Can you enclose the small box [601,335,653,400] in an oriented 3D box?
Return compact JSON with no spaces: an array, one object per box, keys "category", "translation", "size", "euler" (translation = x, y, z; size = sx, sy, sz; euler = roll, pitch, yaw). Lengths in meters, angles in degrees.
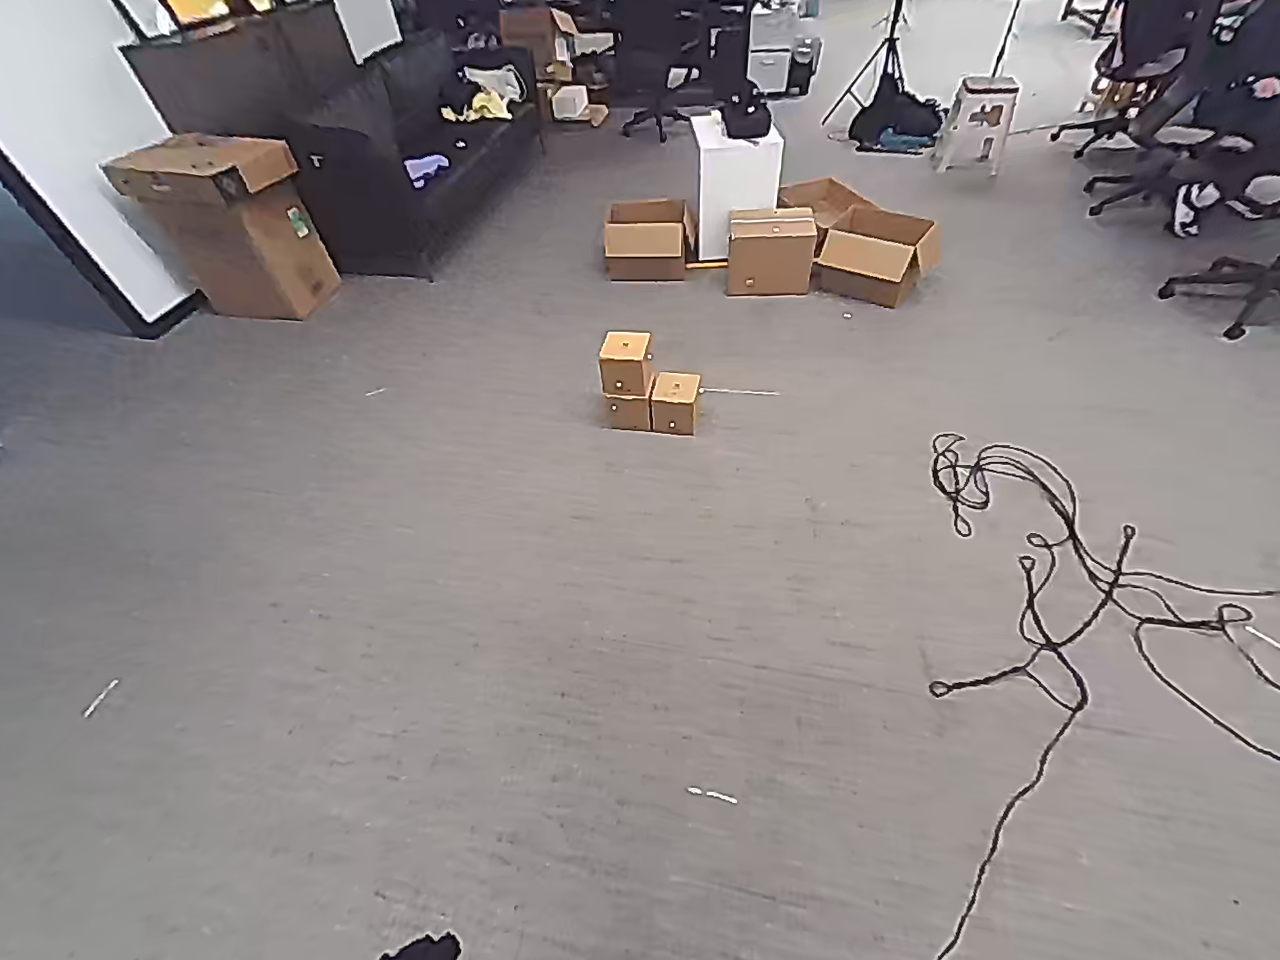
[{"category":"small box","translation":[-0.043,-0.431,2.066],"size":[0.168,0.176,0.179],"euler":[5,48,10]}]
